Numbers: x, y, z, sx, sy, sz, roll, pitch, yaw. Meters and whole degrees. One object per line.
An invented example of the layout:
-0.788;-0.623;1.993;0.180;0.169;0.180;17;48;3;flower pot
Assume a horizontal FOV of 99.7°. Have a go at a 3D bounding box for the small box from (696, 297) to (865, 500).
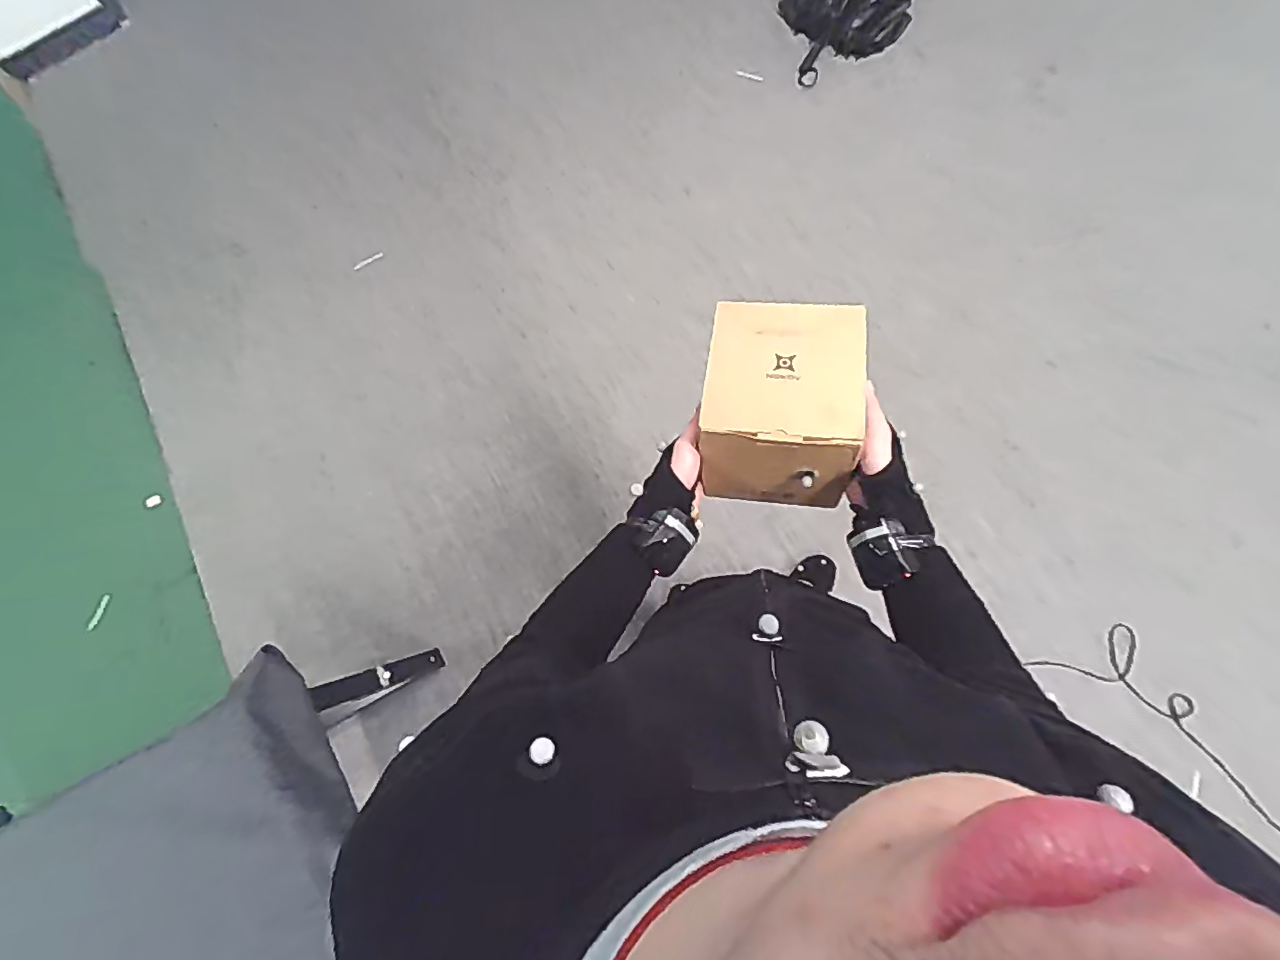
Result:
0.162;-0.090;0.644;0.168;0.176;0.179;6;64;10;small box
